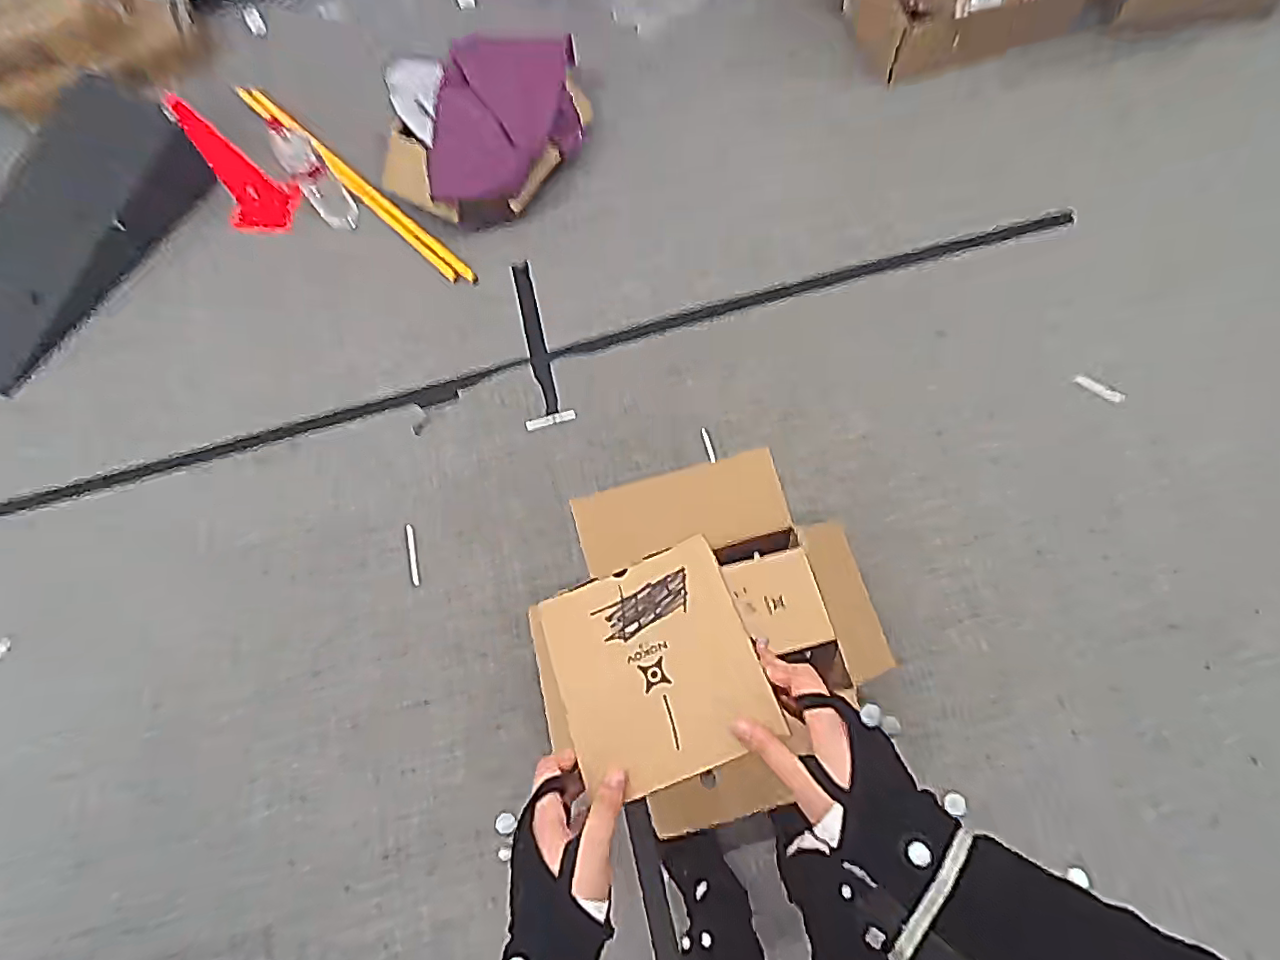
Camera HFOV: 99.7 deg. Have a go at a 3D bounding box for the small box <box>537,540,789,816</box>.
[{"bbox_3d":[0.026,0.184,0.512,0.168,0.176,0.179,-23,64,4],"label":"small box"}]
